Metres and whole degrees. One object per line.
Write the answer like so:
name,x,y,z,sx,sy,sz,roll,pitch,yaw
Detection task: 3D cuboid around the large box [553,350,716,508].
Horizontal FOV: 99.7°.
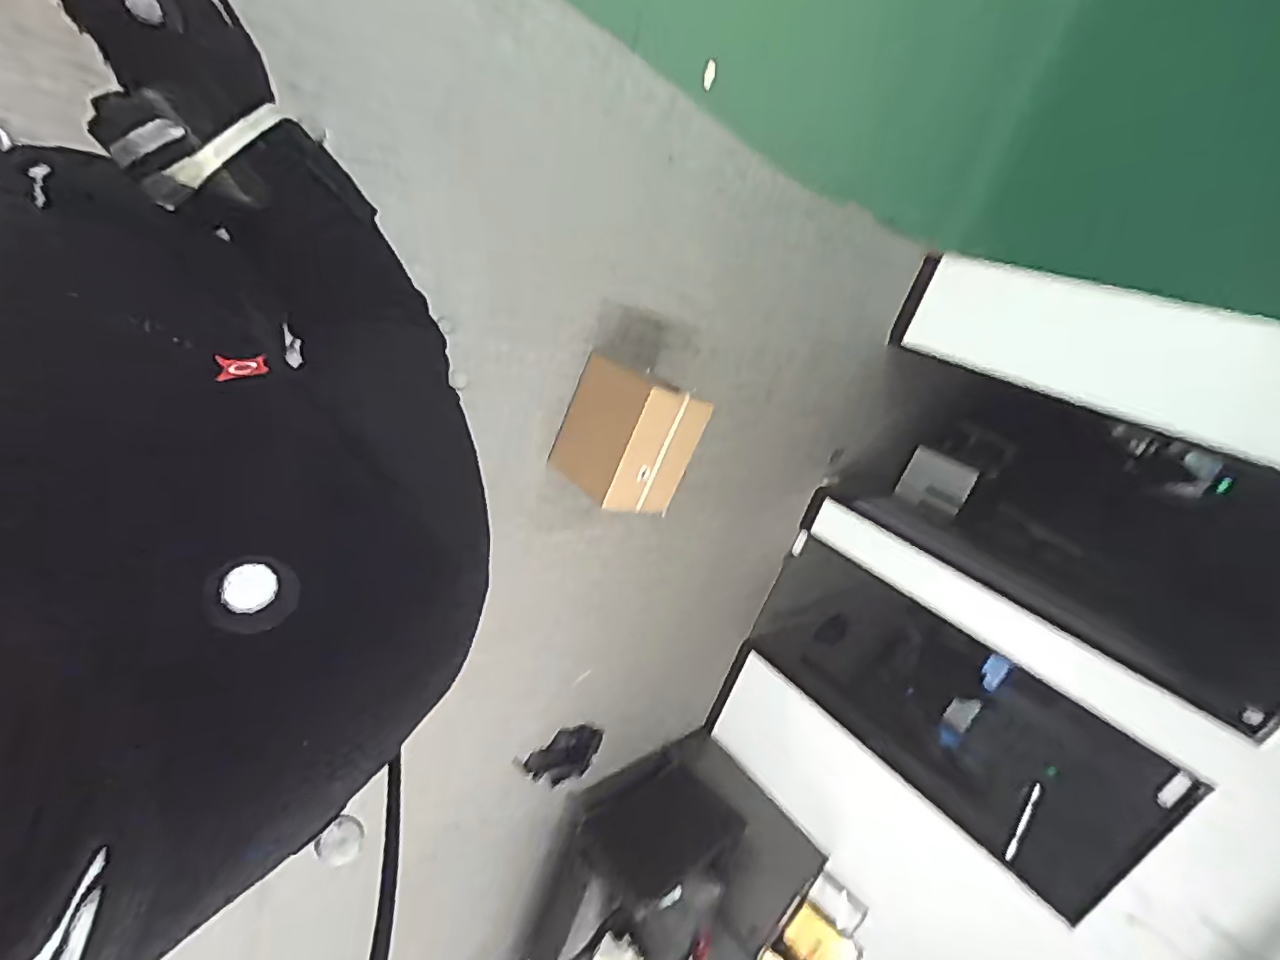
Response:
large box,-0.025,-0.161,1.770,0.320,0.320,0.408,6,115,-47
